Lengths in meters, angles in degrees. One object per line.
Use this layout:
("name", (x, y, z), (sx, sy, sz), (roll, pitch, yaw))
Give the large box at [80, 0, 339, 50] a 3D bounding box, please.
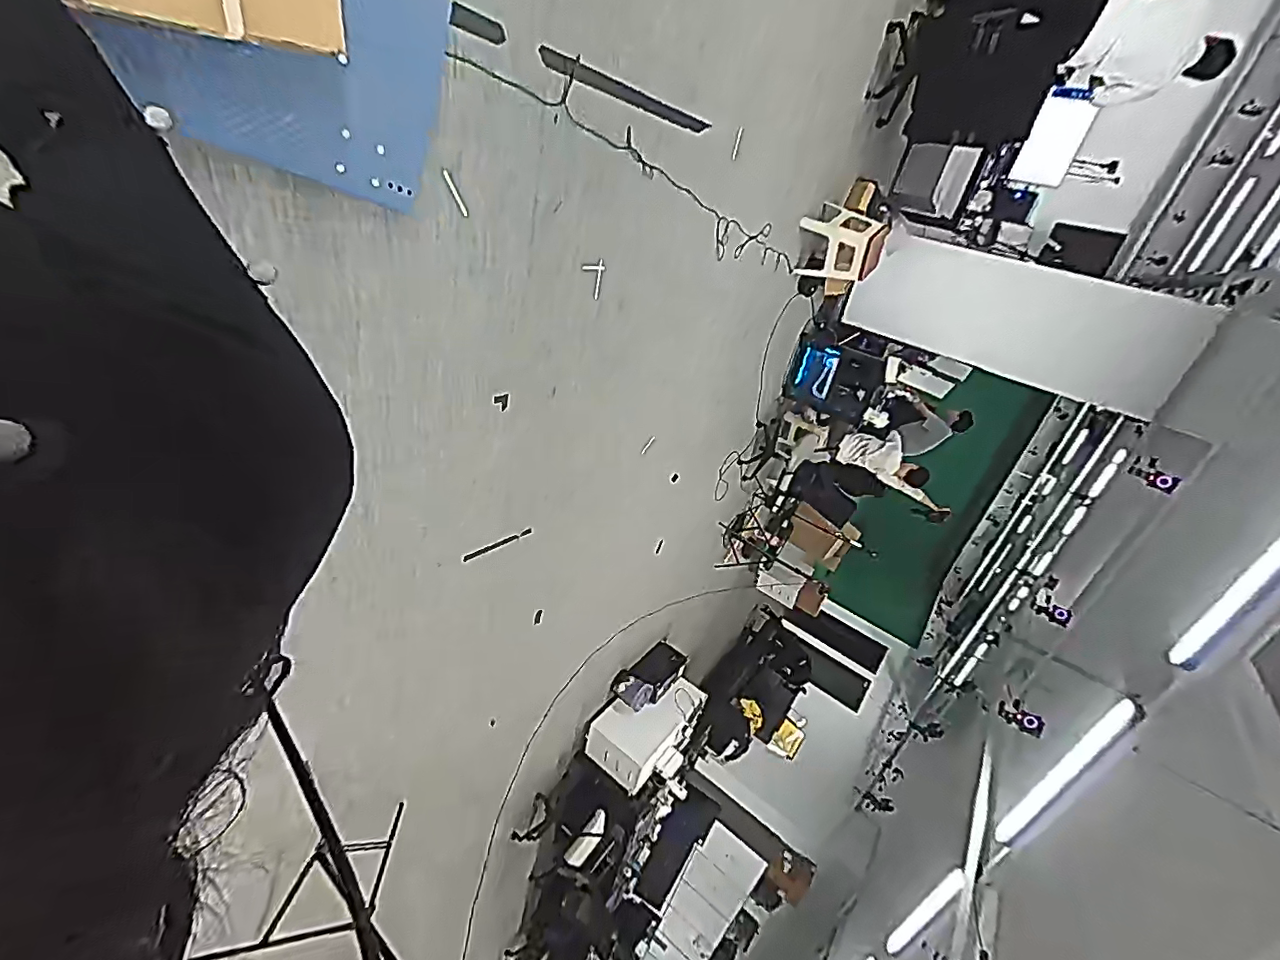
("large box", (-0.647, -0.848, 0.692), (0.320, 0.320, 0.408), (-30, 141, -46))
